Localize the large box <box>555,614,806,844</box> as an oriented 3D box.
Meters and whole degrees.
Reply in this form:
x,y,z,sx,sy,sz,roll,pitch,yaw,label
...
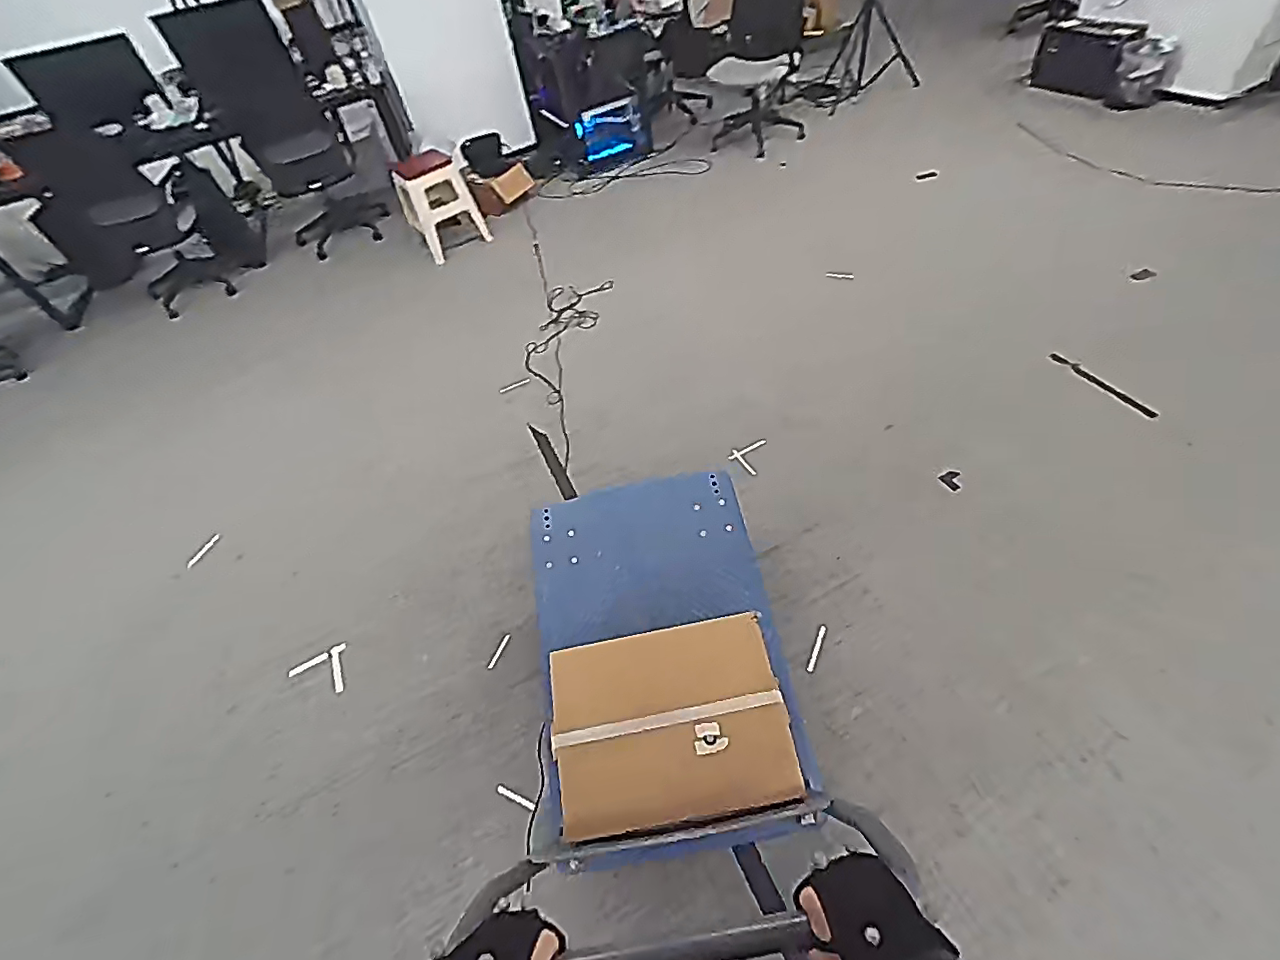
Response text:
x,y,z,sx,sy,sz,roll,pitch,yaw,label
0.071,0.505,1.095,0.408,0.320,0.320,-12,60,0,large box
